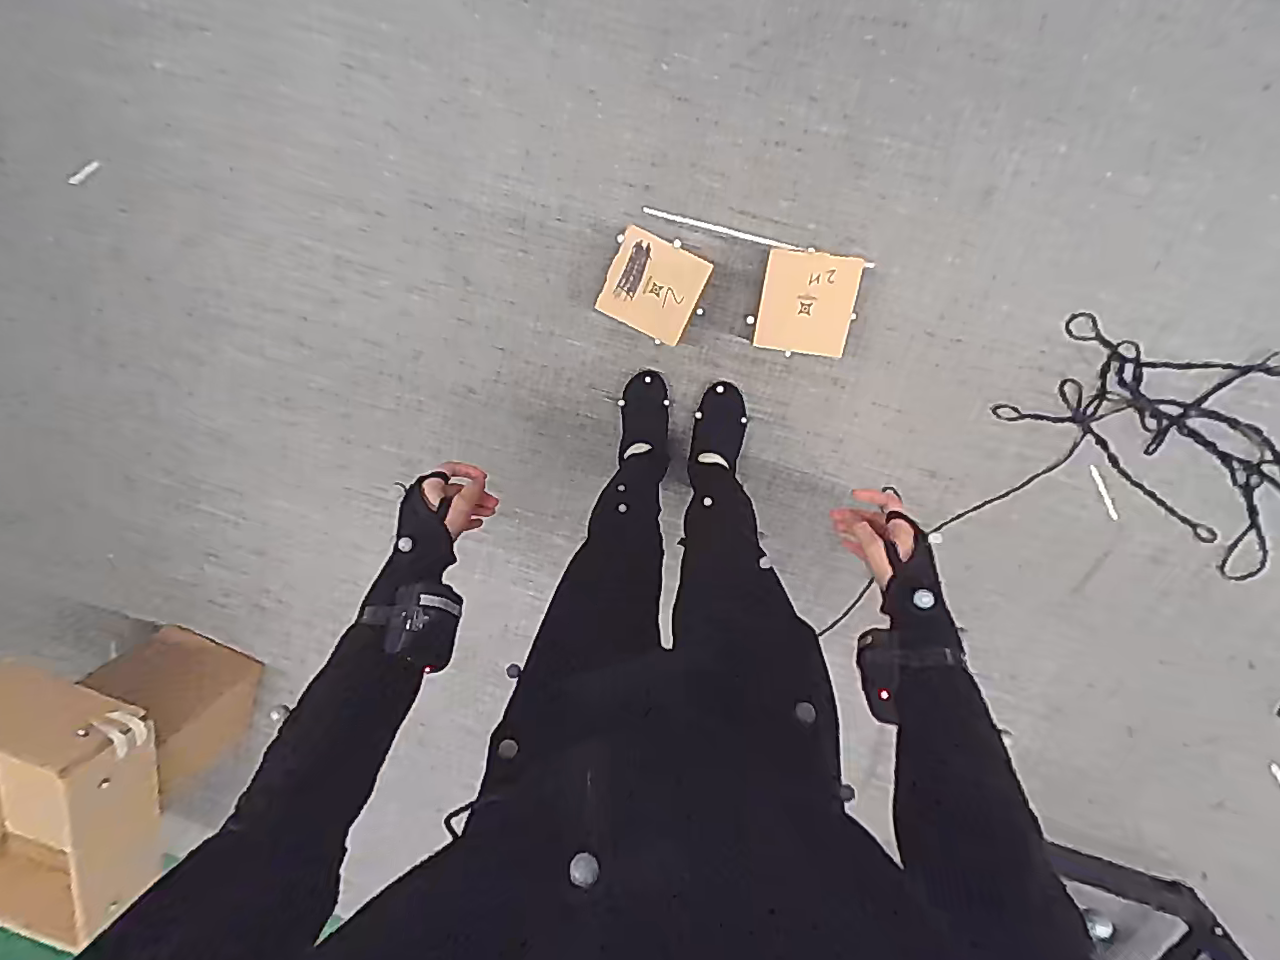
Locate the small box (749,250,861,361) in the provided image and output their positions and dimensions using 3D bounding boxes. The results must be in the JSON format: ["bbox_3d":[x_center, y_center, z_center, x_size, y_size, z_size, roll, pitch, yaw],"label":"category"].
[{"bbox_3d":[0.308,-0.337,1.050,0.168,0.176,0.179,10,108,6],"label":"small box"}]
